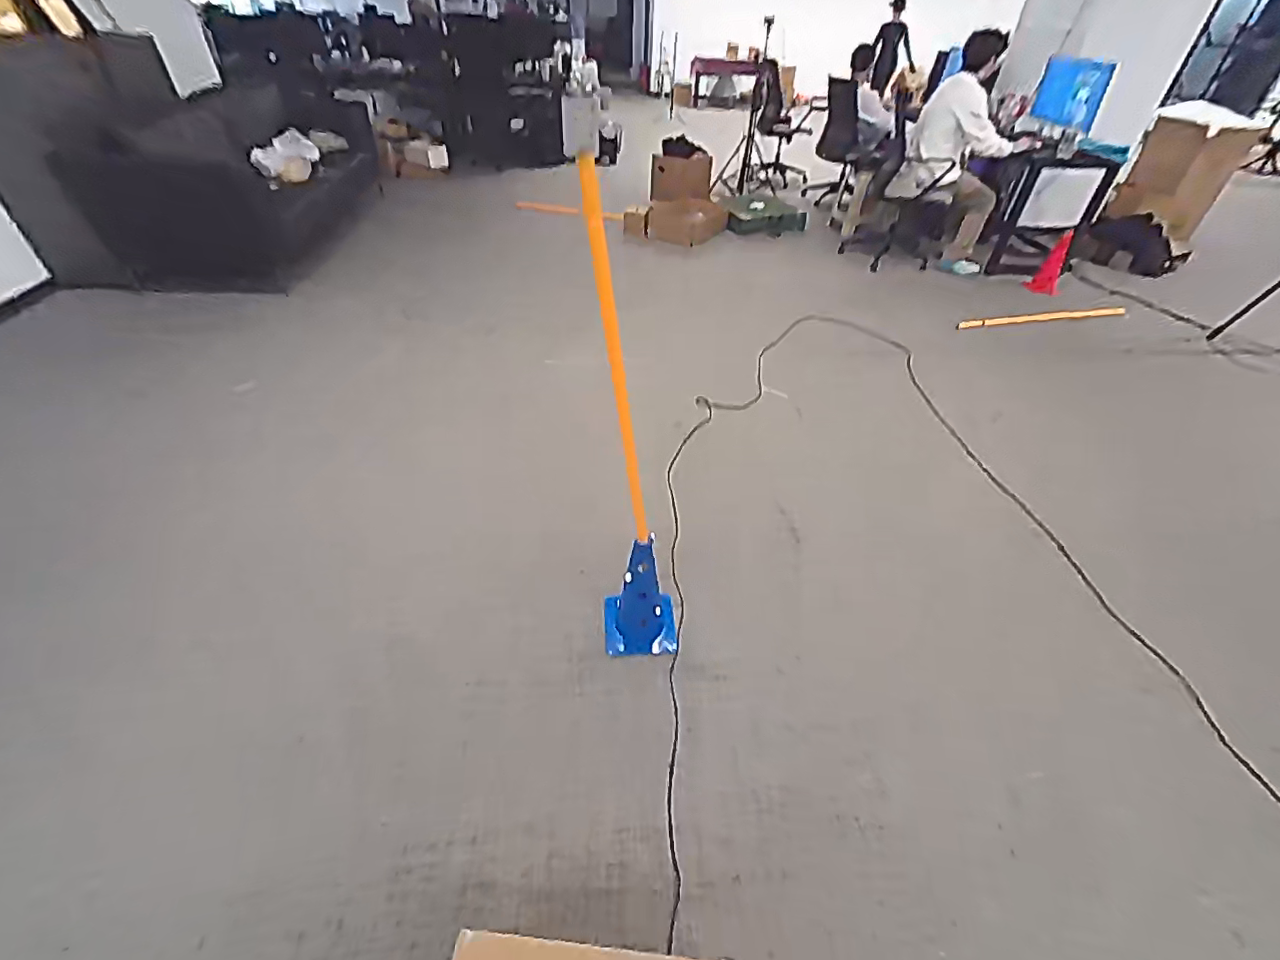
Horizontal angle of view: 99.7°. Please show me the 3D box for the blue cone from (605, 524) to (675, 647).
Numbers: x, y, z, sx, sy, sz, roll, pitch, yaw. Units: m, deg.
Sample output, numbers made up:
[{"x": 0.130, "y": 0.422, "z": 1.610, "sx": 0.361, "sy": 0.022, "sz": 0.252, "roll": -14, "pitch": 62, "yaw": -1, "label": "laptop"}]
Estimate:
[{"x": 0.001, "y": 0.265, "z": 1.429, "sx": 0.193, "sy": 0.380, "sz": 0.192, "roll": -4, "pitch": 41, "yaw": -5, "label": "blue cone"}]
